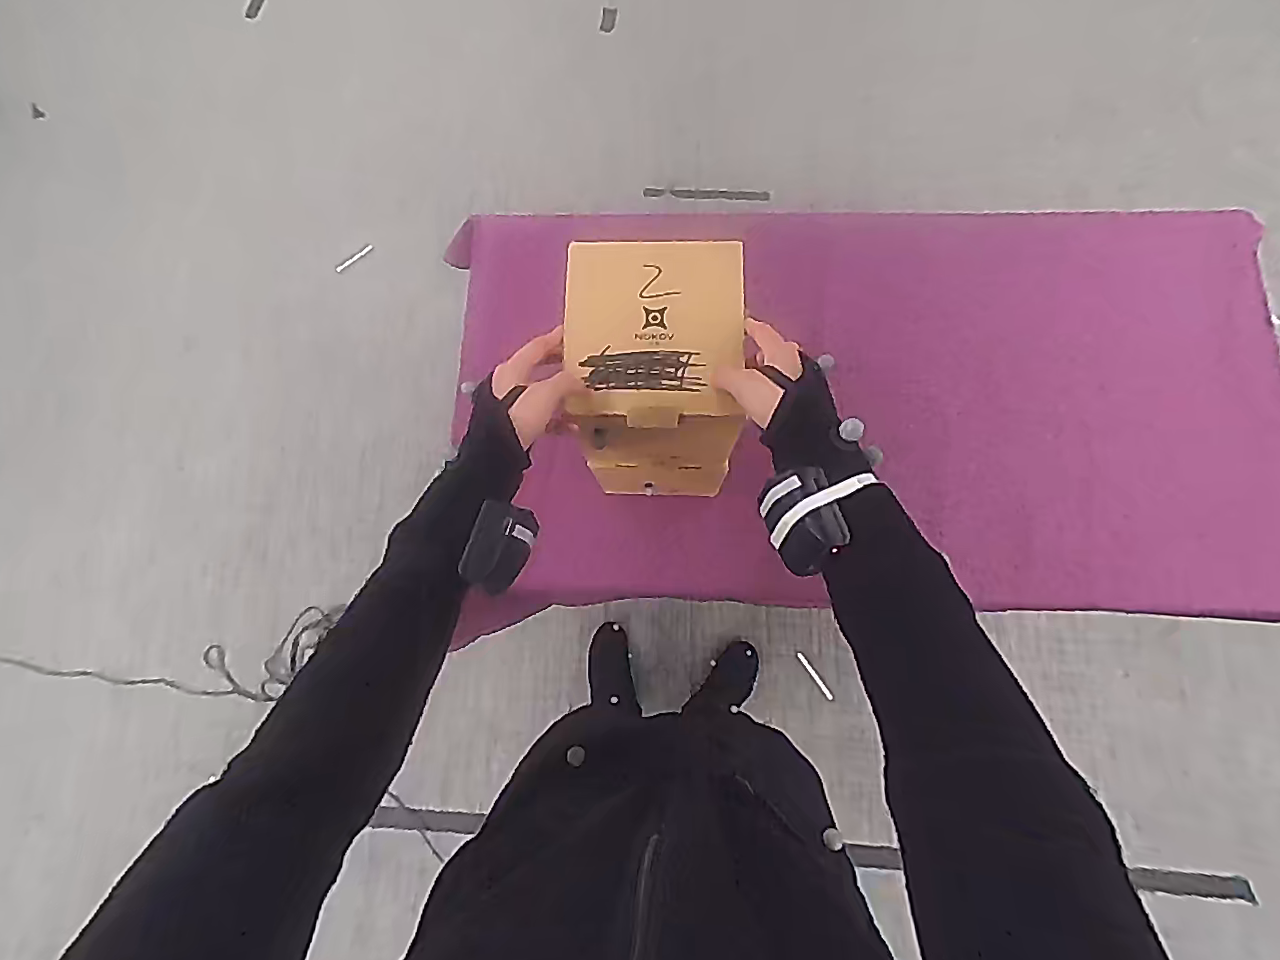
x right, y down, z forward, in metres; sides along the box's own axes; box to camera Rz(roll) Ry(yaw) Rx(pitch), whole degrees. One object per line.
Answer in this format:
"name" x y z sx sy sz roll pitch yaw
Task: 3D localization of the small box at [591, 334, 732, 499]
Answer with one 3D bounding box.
"small box" 0.030 -0.078 0.728 0.168 0.176 0.179 2 79 3
